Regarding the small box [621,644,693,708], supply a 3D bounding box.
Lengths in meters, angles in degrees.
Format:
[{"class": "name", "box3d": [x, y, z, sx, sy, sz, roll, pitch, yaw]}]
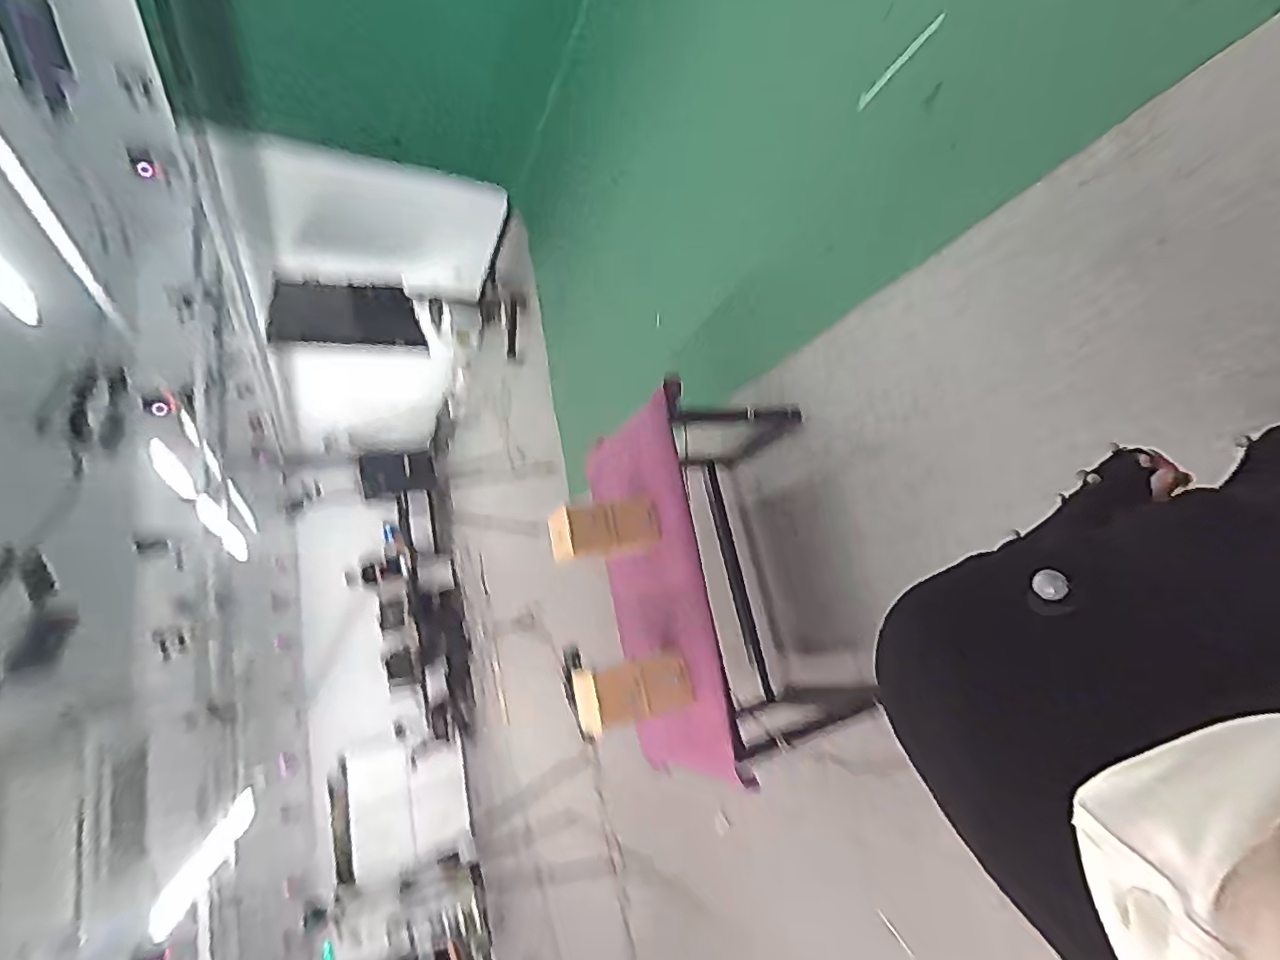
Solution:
[{"class": "small box", "box3d": [0.054, 0.647, 1.798, 0.179, 0.176, 0.168, -33, 65, 58]}]

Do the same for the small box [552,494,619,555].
[{"class": "small box", "box3d": [-0.181, 0.150, 1.829, 0.179, 0.176, 0.168, -33, 65, 57]}]

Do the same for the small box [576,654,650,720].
[{"class": "small box", "box3d": [-0.089, 0.655, 1.721, 0.179, 0.176, 0.168, -35, 62, 57]}]
